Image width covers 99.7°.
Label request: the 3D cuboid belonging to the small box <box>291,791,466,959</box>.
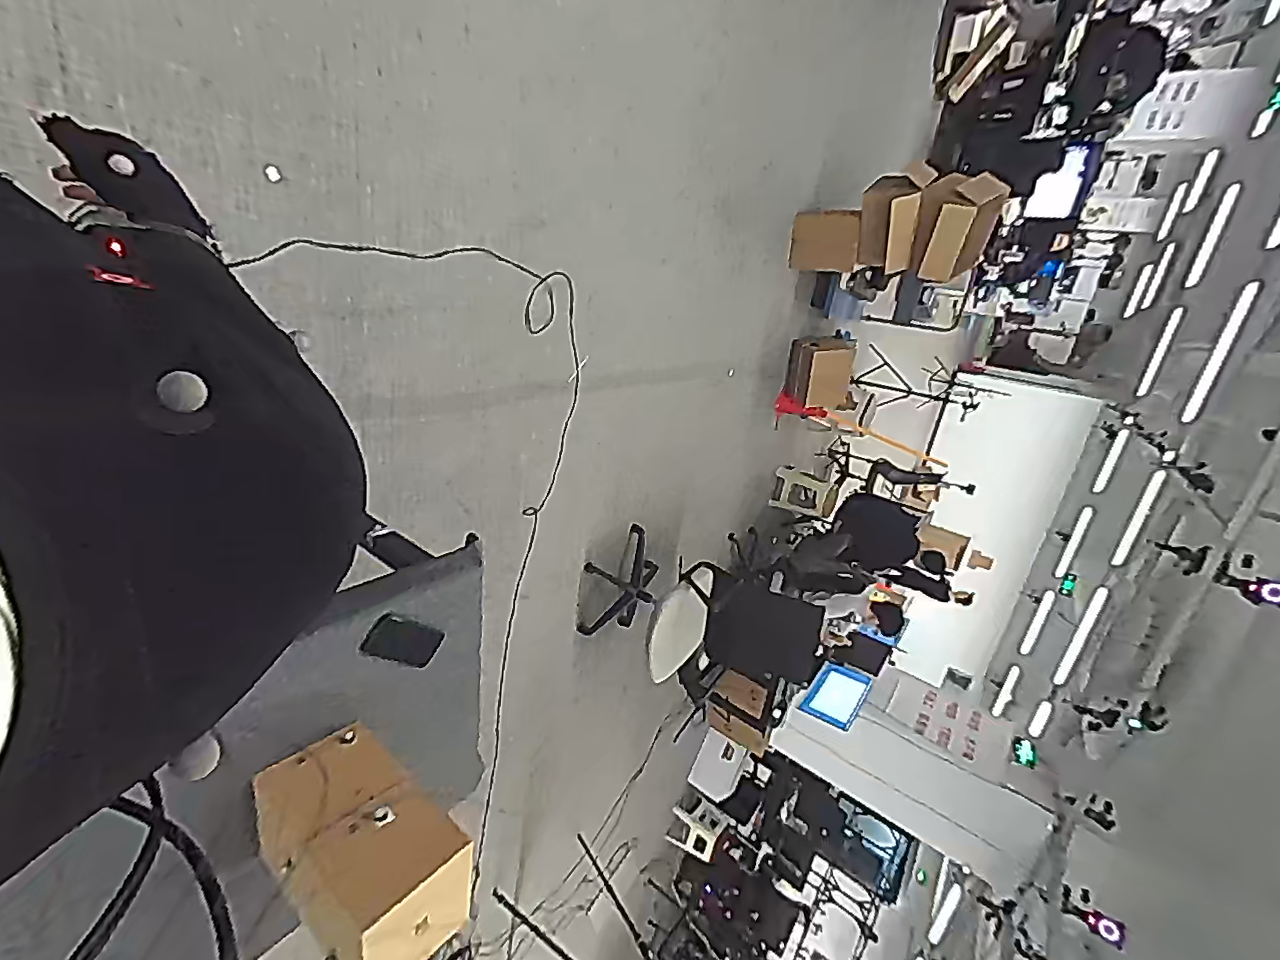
[{"bbox_3d":[-0.372,0.599,0.775,0.168,0.176,0.179,-18,121,-52],"label":"small box"}]

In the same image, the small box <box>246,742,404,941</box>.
[{"bbox_3d":[-0.500,0.554,0.863,0.168,0.176,0.179,-16,122,-52],"label":"small box"}]
